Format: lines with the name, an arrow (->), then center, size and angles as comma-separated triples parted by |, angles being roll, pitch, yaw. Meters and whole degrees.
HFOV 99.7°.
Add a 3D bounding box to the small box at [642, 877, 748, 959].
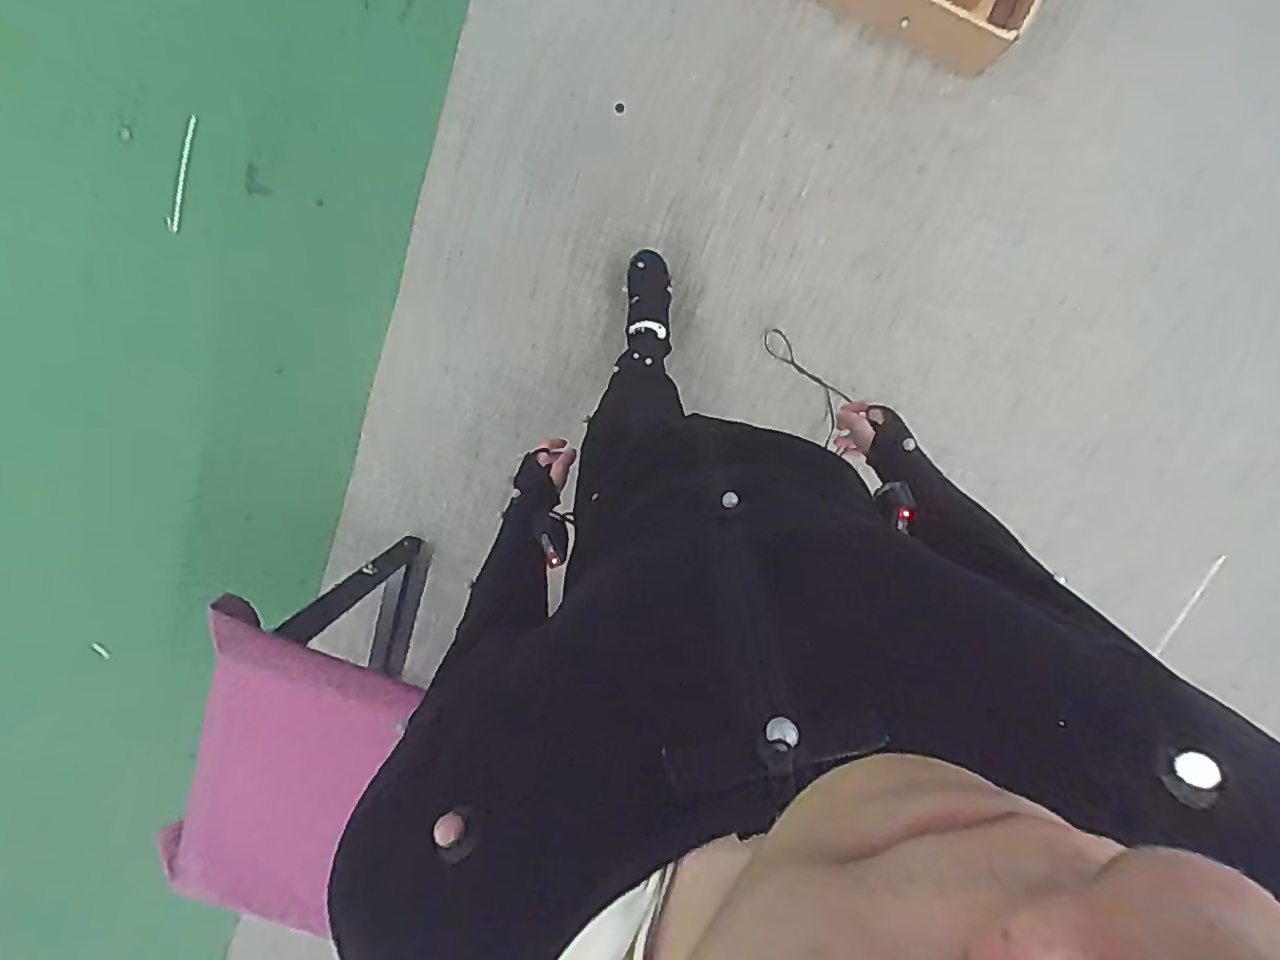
small box -> 0.097, 0.882, 0.982 | 0.168, 0.176, 0.179 | 15, 103, 1
